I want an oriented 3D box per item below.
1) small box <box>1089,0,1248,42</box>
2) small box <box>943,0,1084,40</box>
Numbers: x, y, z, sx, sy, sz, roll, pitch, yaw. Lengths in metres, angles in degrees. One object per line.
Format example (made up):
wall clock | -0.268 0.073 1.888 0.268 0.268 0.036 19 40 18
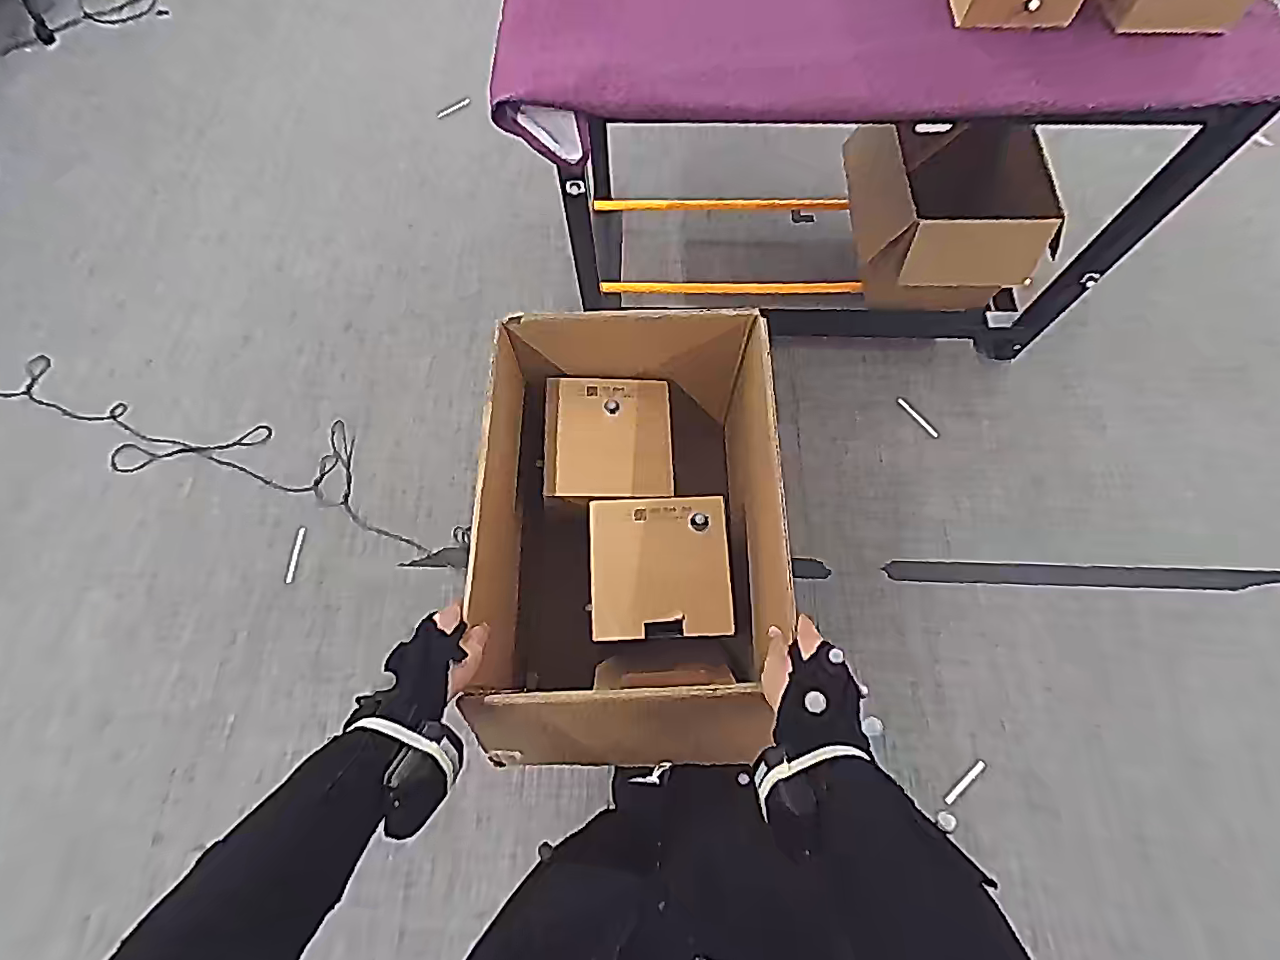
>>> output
small box | 0.851 -0.814 0.833 0.179 0.176 0.168 2 66 2
small box | 0.606 -0.832 0.843 0.179 0.176 0.168 2 67 2
